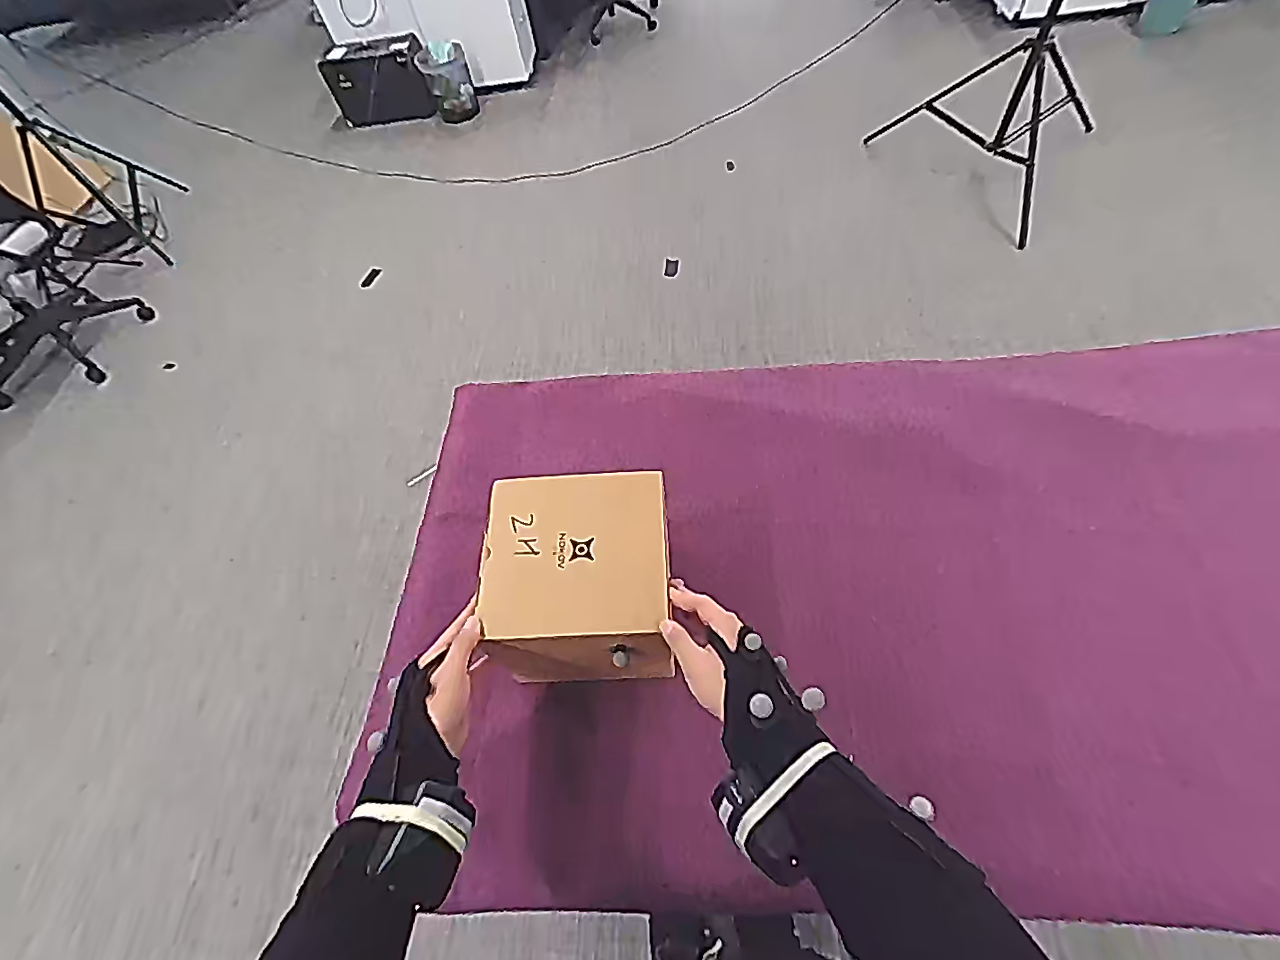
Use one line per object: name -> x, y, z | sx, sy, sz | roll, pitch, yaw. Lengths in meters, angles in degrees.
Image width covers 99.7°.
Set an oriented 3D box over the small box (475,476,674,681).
small box -> -0.053, 0.111, 0.578 | 0.179, 0.176, 0.168 | -3, 57, 3
